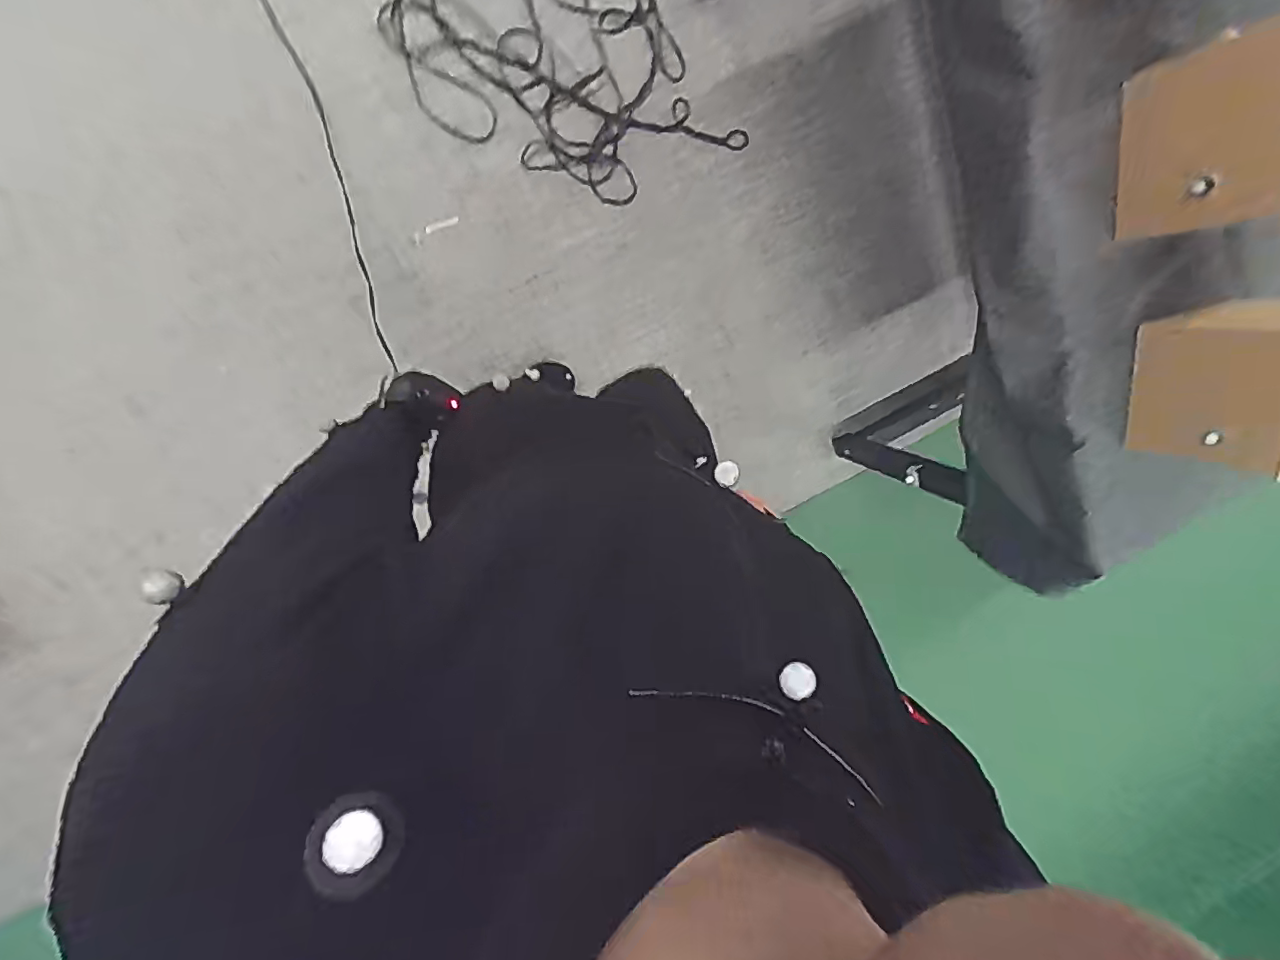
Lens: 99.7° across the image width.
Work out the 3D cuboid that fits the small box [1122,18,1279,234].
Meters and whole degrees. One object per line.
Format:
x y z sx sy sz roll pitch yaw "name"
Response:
0.661 -0.373 0.572 0.168 0.176 0.179 -18 108 -9 "small box"
